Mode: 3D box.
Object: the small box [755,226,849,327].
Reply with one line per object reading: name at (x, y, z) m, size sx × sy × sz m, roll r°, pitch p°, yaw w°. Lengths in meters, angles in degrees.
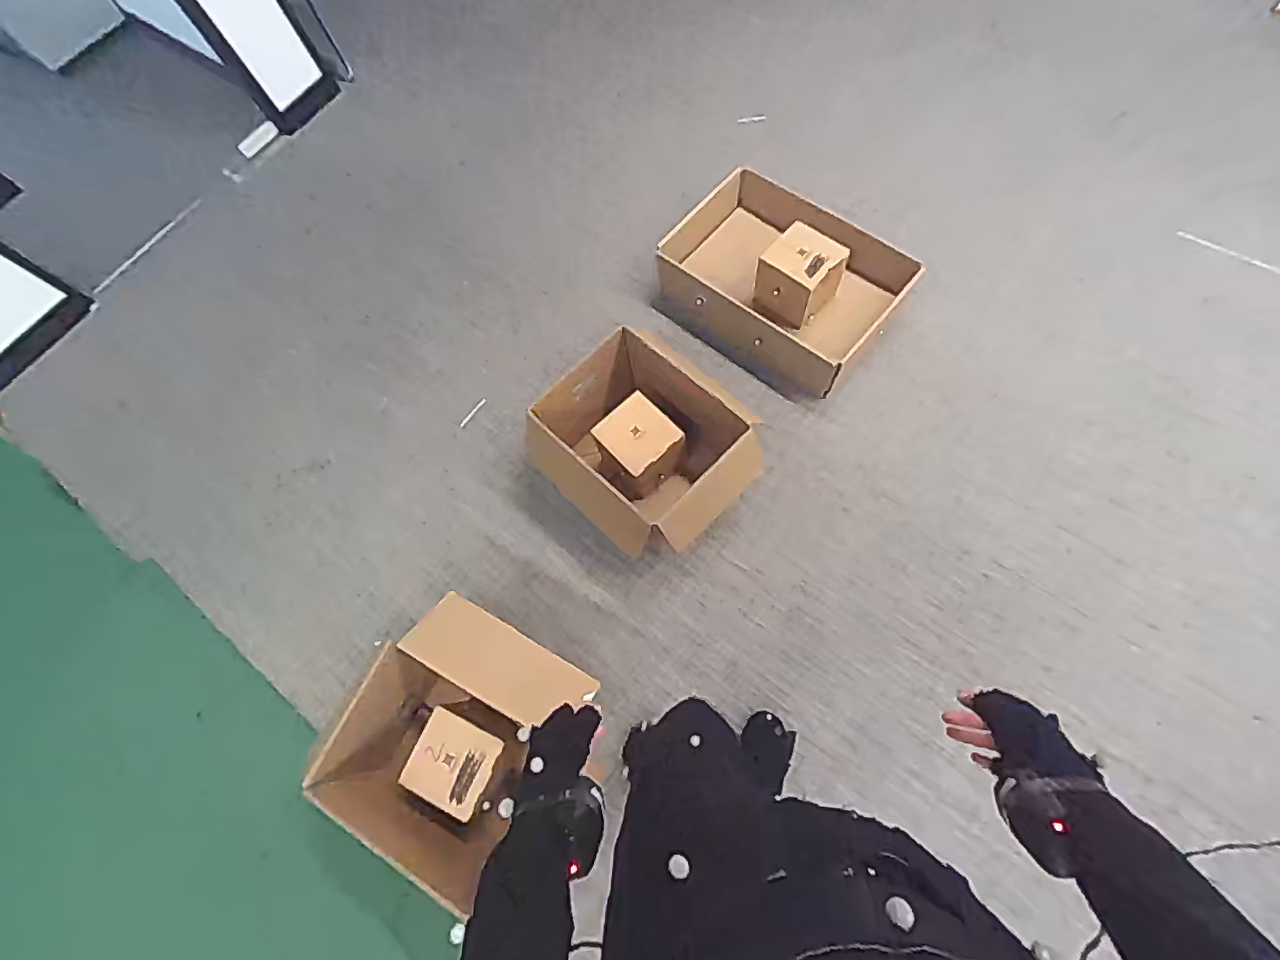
small box at (0.442, -0.556, 1.503) m, size 0.179 × 0.176 × 0.168 m, roll 41°, pitch 78°, yaw 20°
